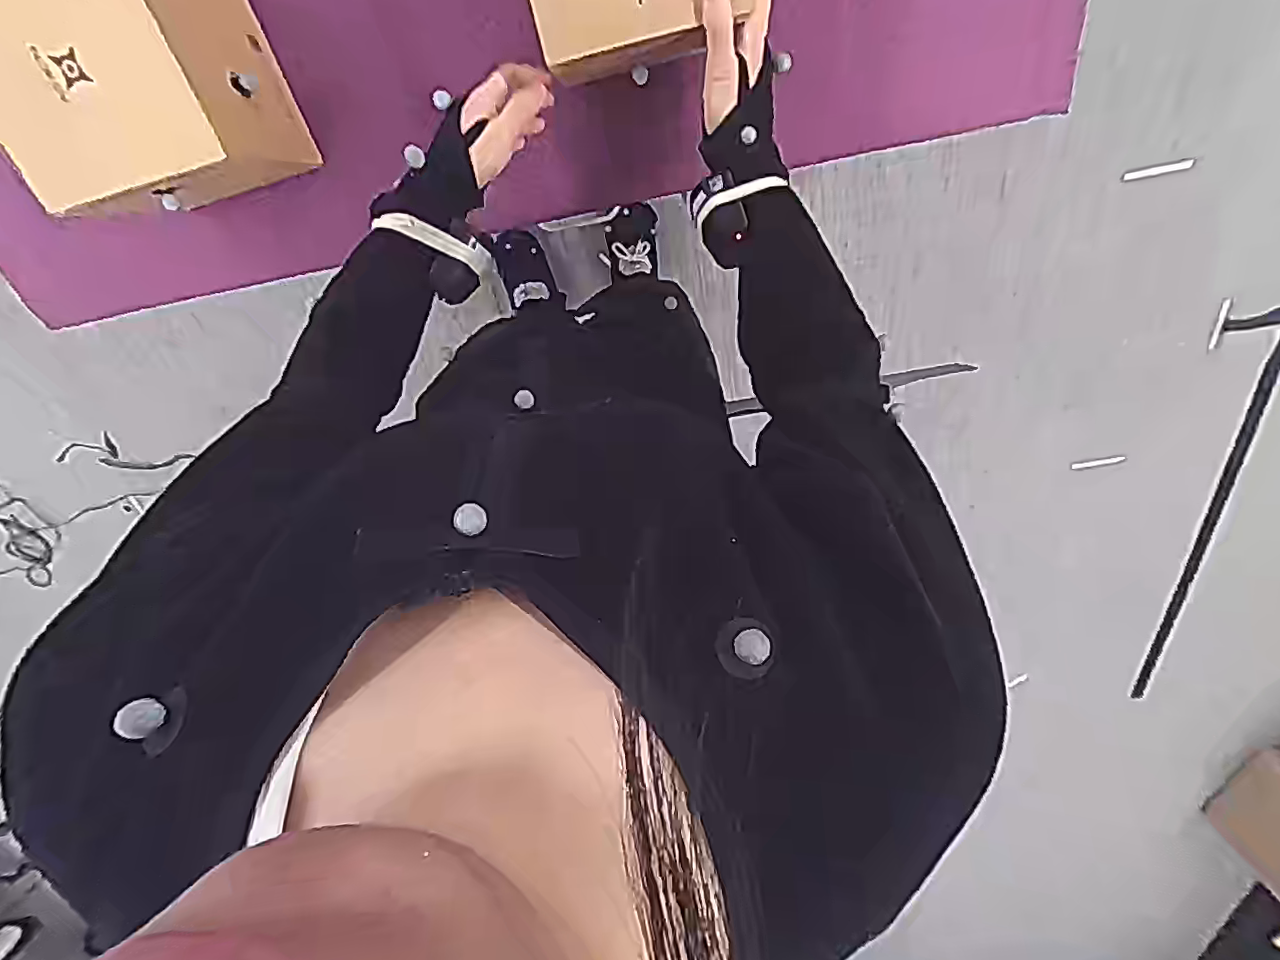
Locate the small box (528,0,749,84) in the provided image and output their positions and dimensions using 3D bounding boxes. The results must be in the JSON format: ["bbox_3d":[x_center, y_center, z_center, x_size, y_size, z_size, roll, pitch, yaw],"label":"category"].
[{"bbox_3d":[-0.015,-0.450,0.439,0.168,0.176,0.179,-10,122,4],"label":"small box"}]

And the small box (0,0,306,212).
[{"bbox_3d":[-0.441,-0.355,0.484,0.179,0.176,0.168,-13,119,6],"label":"small box"}]
